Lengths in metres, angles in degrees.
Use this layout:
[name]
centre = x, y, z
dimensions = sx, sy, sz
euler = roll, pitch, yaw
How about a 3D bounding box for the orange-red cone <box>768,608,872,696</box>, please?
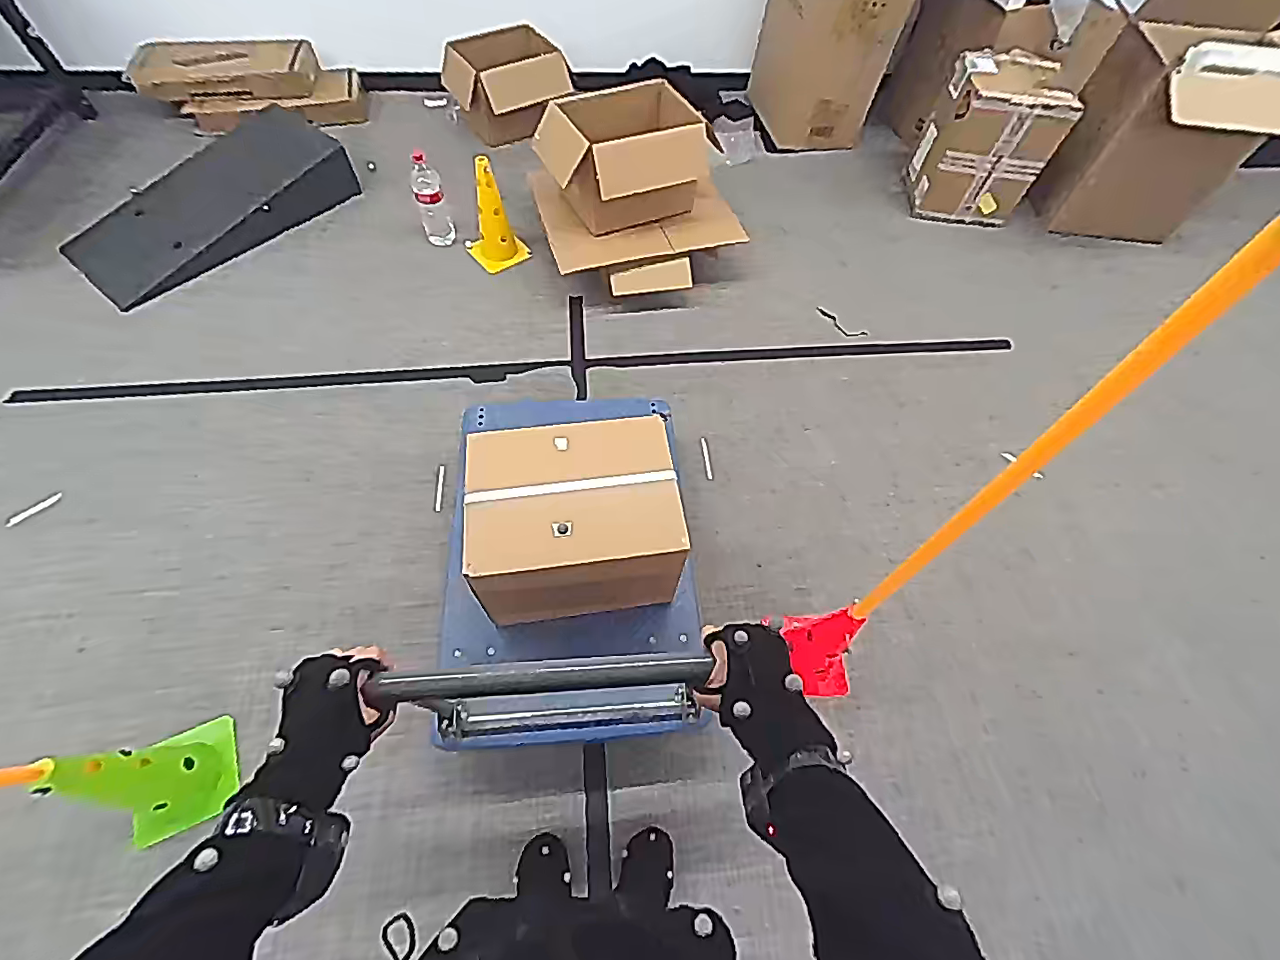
[orange-red cone]
centre = 0.438, 0.358, 1.227
dimensions = 0.199, 0.360, 0.198
euler = 2, 60, -3
